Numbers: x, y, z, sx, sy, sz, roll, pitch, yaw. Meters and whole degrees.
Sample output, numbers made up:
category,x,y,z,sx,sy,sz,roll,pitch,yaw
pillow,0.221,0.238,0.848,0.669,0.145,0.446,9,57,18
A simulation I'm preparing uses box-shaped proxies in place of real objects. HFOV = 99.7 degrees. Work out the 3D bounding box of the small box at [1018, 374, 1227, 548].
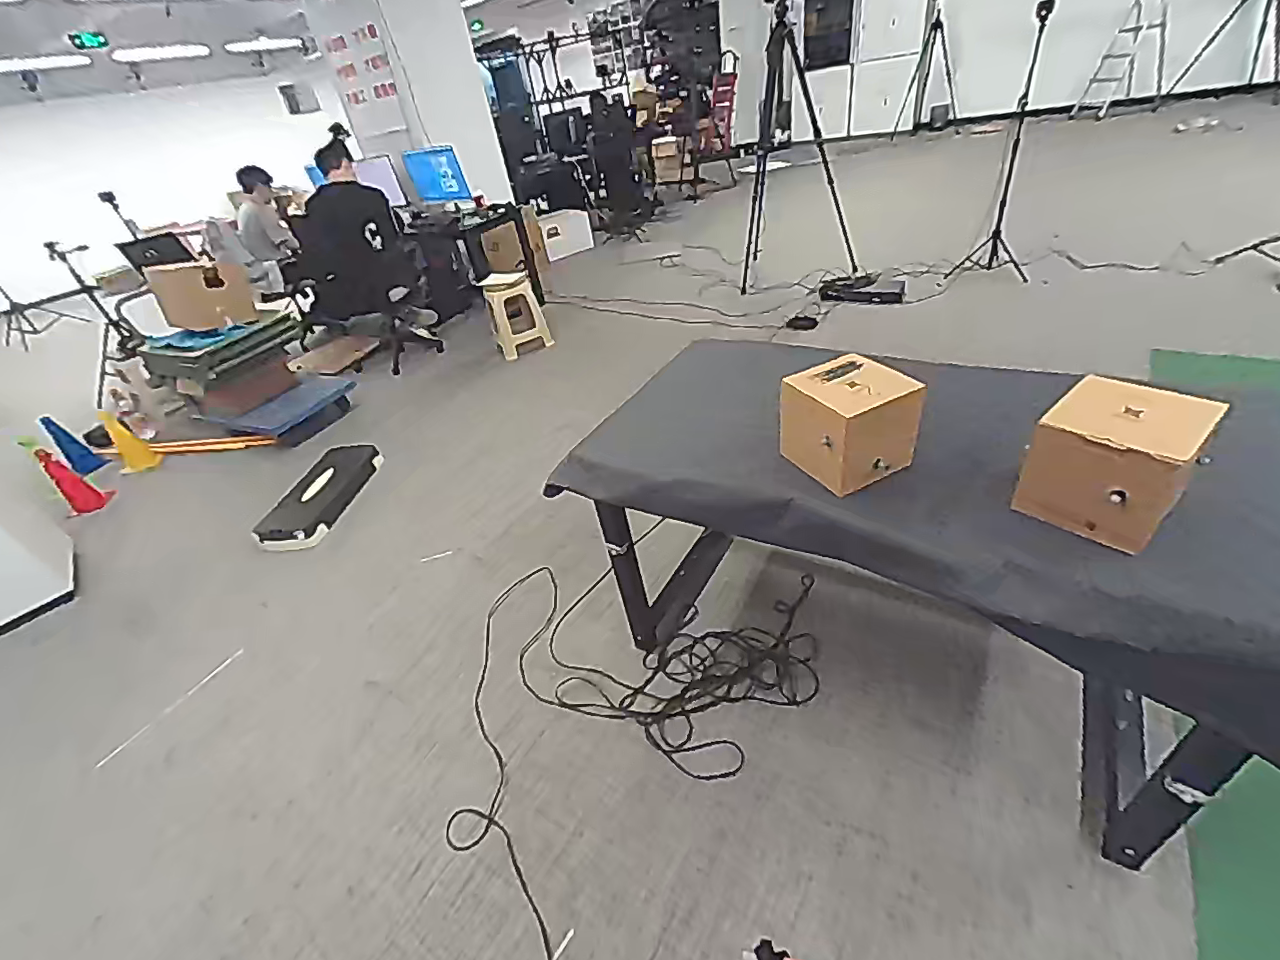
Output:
category,x,y,z,sx,sy,sz,roll,pitch,yaw
small box,0.695,-0.030,0.798,0.179,0.176,0.168,-31,41,-26
